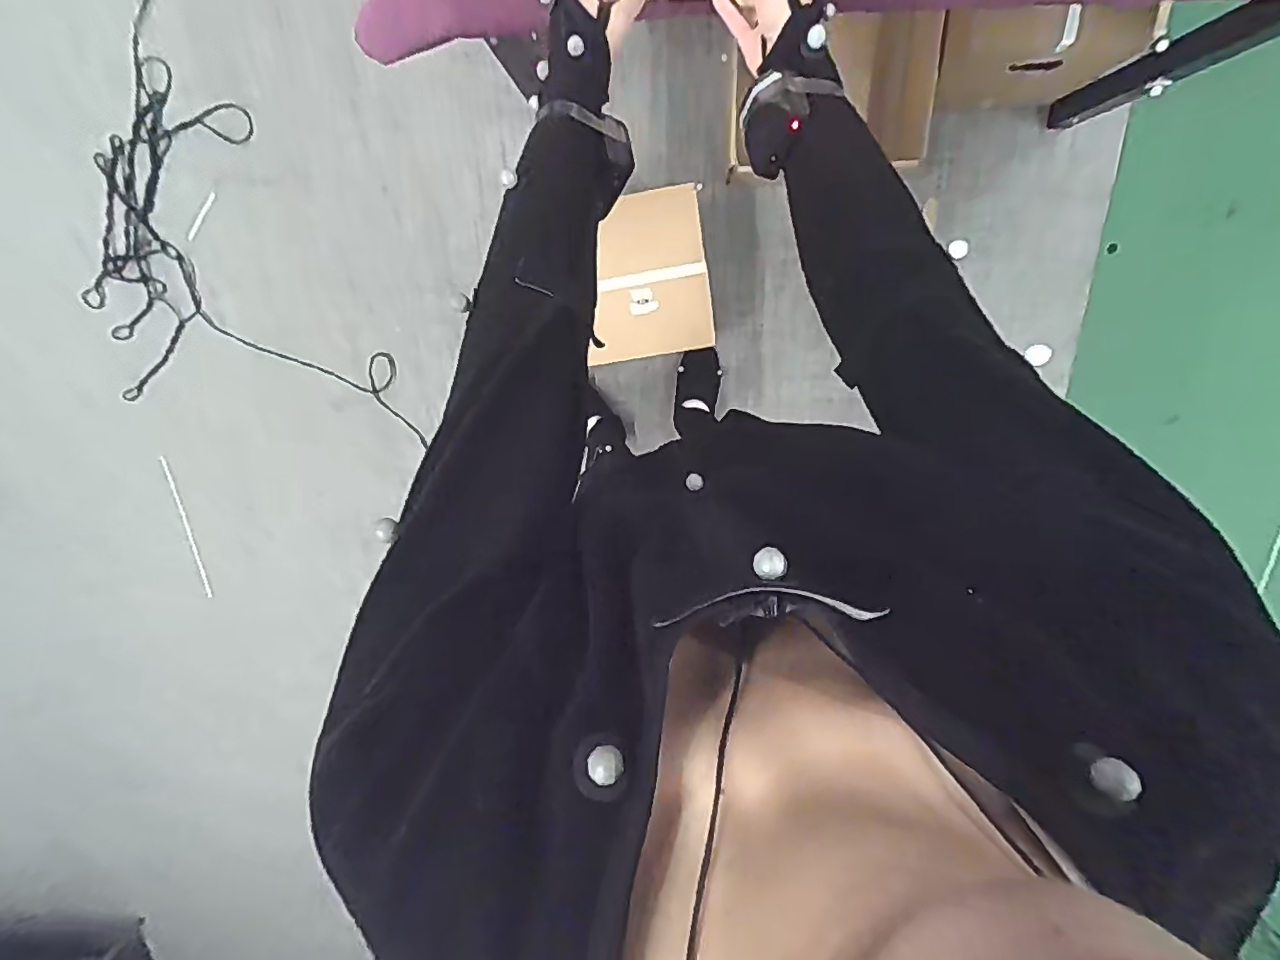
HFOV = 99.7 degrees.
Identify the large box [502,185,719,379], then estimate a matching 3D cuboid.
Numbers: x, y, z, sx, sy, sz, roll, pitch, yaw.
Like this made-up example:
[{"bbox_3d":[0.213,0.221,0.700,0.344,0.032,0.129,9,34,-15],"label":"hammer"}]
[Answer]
[{"bbox_3d":[-0.050,-0.430,1.232,0.408,0.320,0.320,-8,107,5],"label":"large box"}]
